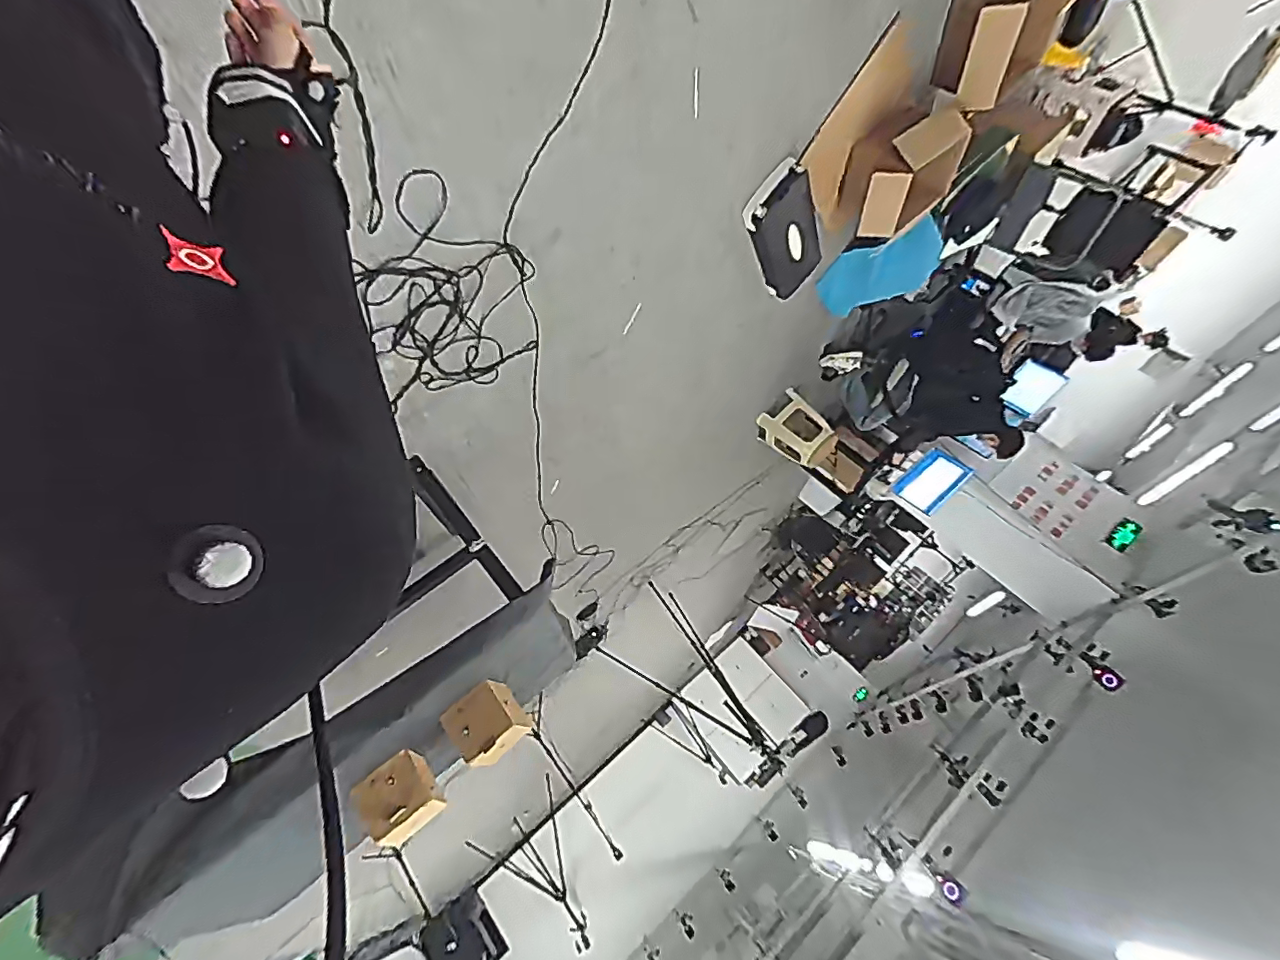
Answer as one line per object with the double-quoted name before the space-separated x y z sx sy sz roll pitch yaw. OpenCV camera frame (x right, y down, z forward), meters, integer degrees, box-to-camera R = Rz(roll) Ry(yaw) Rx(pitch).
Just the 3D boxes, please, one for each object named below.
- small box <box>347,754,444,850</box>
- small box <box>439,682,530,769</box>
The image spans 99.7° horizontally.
"small box" -0.687 0.905 1.526 0.168 0.176 0.179 -34 153 -23
"small box" -0.462 0.723 1.602 0.168 0.176 0.179 -40 156 -11
